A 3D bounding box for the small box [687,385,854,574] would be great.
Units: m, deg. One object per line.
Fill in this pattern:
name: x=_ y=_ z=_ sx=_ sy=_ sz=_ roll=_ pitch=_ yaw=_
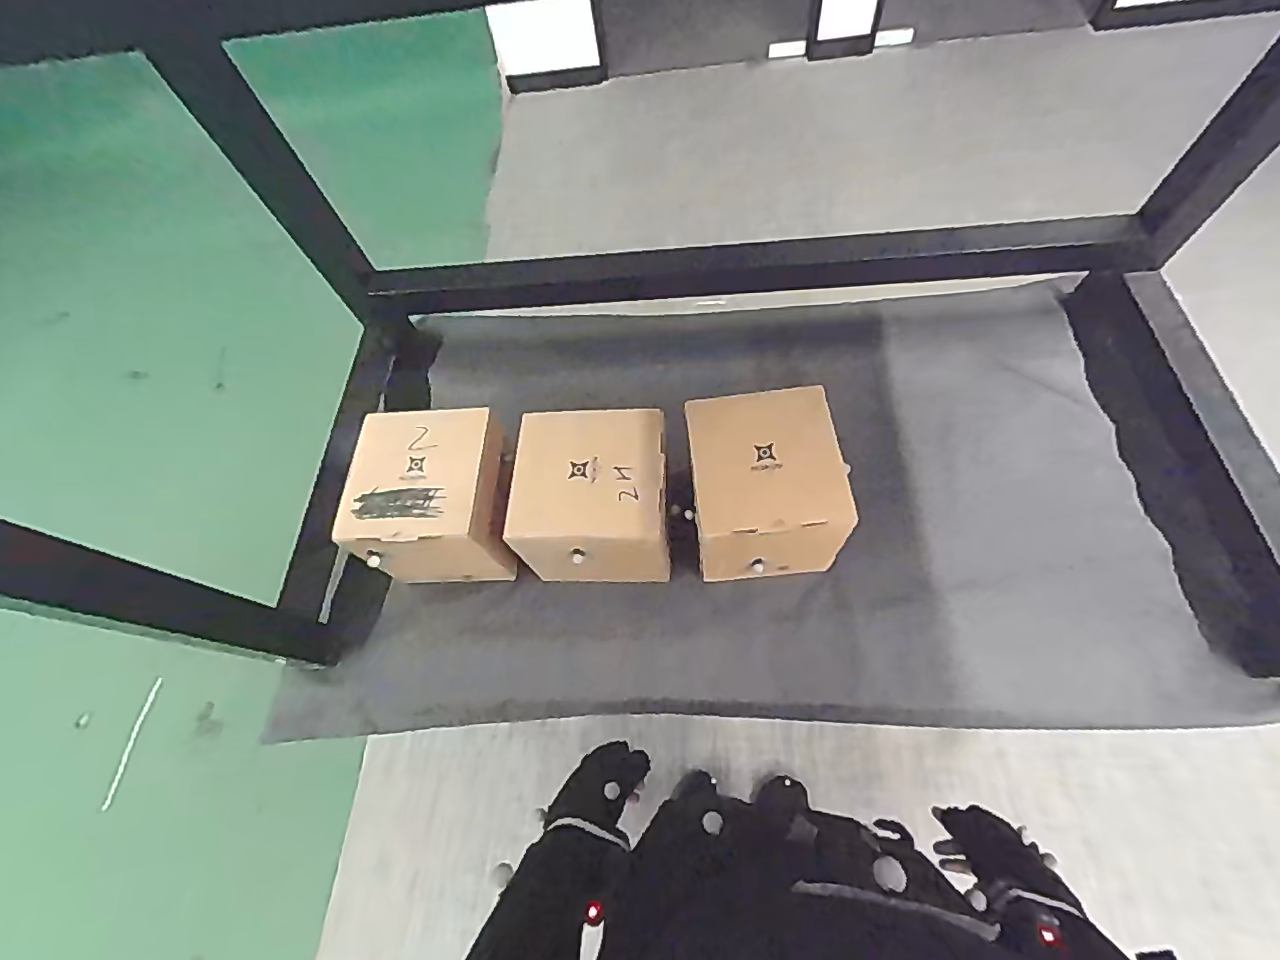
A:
small box: x=0.150 y=0.006 z=0.687 sx=0.168 sy=0.176 sz=0.179 roll=-7 pitch=64 yaw=4
